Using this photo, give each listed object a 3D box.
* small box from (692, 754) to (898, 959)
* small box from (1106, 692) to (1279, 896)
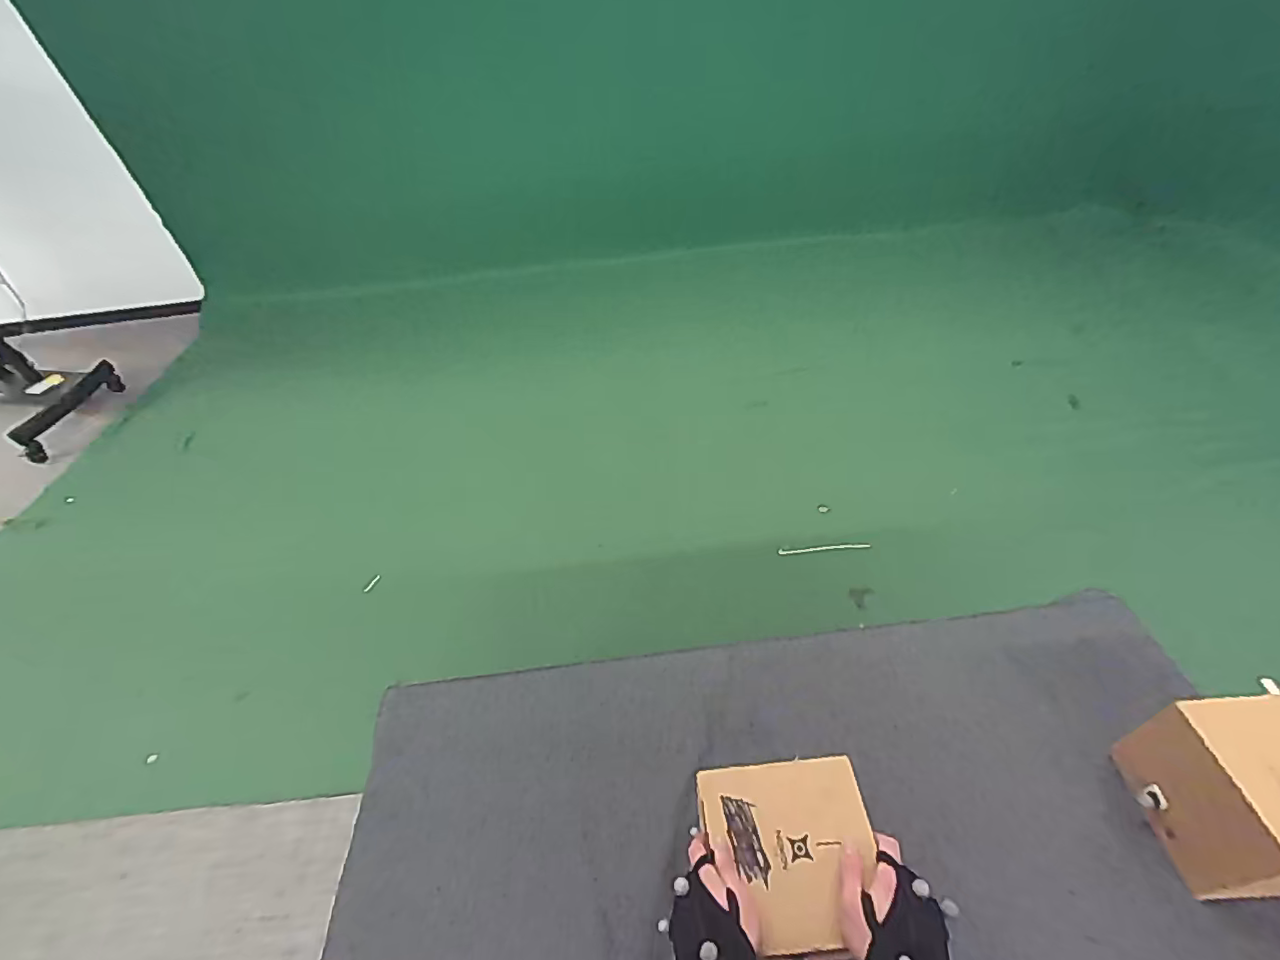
[{"bbox_3d":[0.157,0.432,0.614,0.179,0.176,0.168,-6,46,0],"label":"small box"},{"bbox_3d":[0.704,0.358,0.618,0.179,0.176,0.168,-6,45,3],"label":"small box"}]
